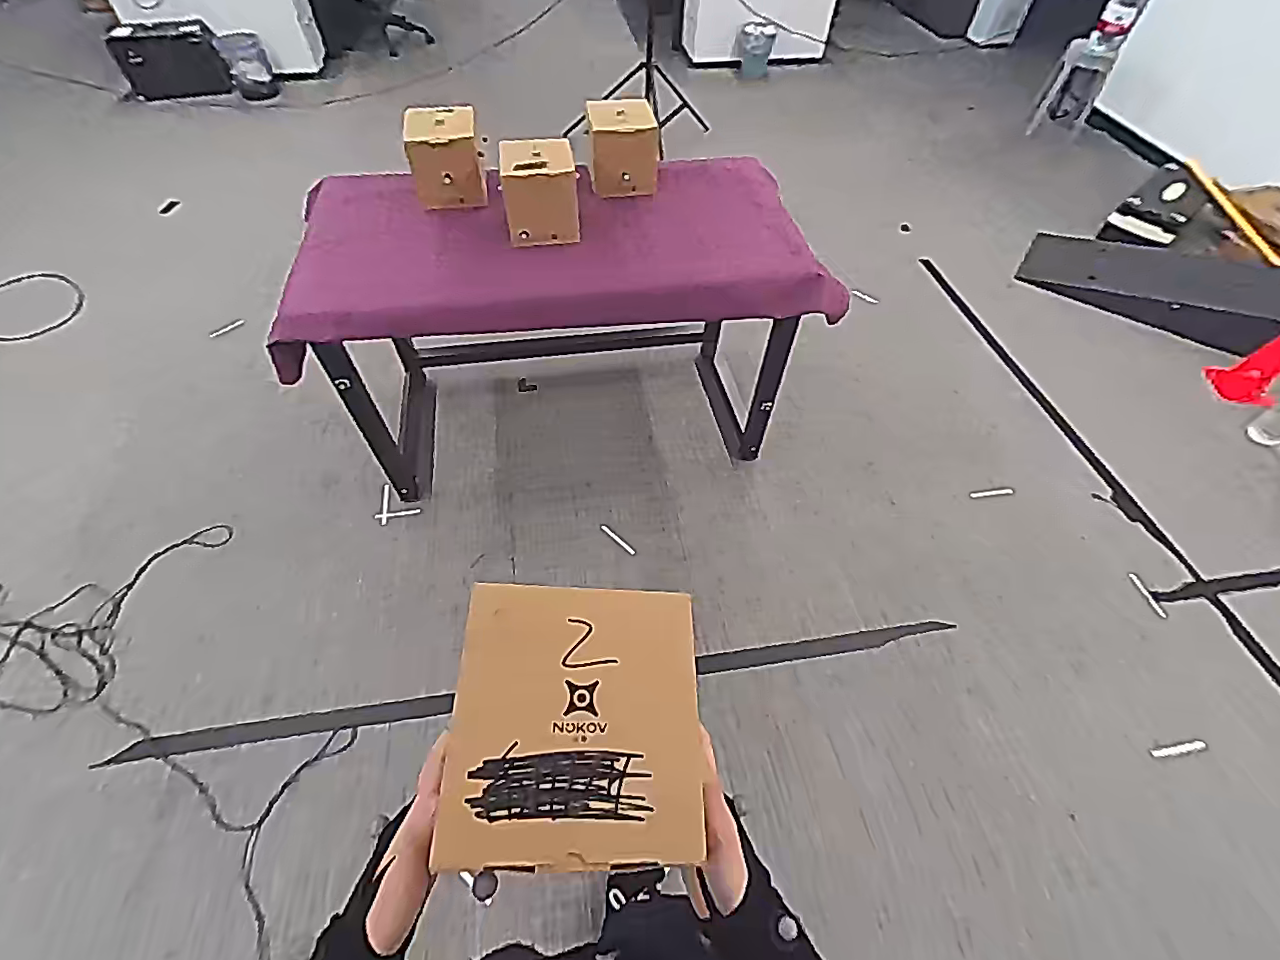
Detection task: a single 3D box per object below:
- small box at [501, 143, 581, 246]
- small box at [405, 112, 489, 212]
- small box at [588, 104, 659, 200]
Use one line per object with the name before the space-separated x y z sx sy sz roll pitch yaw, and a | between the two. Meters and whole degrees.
small box | -0.236 -0.681 1.303 0.168 0.176 0.179 -7 54 -7
small box | -0.487 -0.809 1.385 0.168 0.176 0.179 -7 57 -8
small box | -0.048 -0.876 1.447 0.168 0.176 0.179 -8 56 -6
